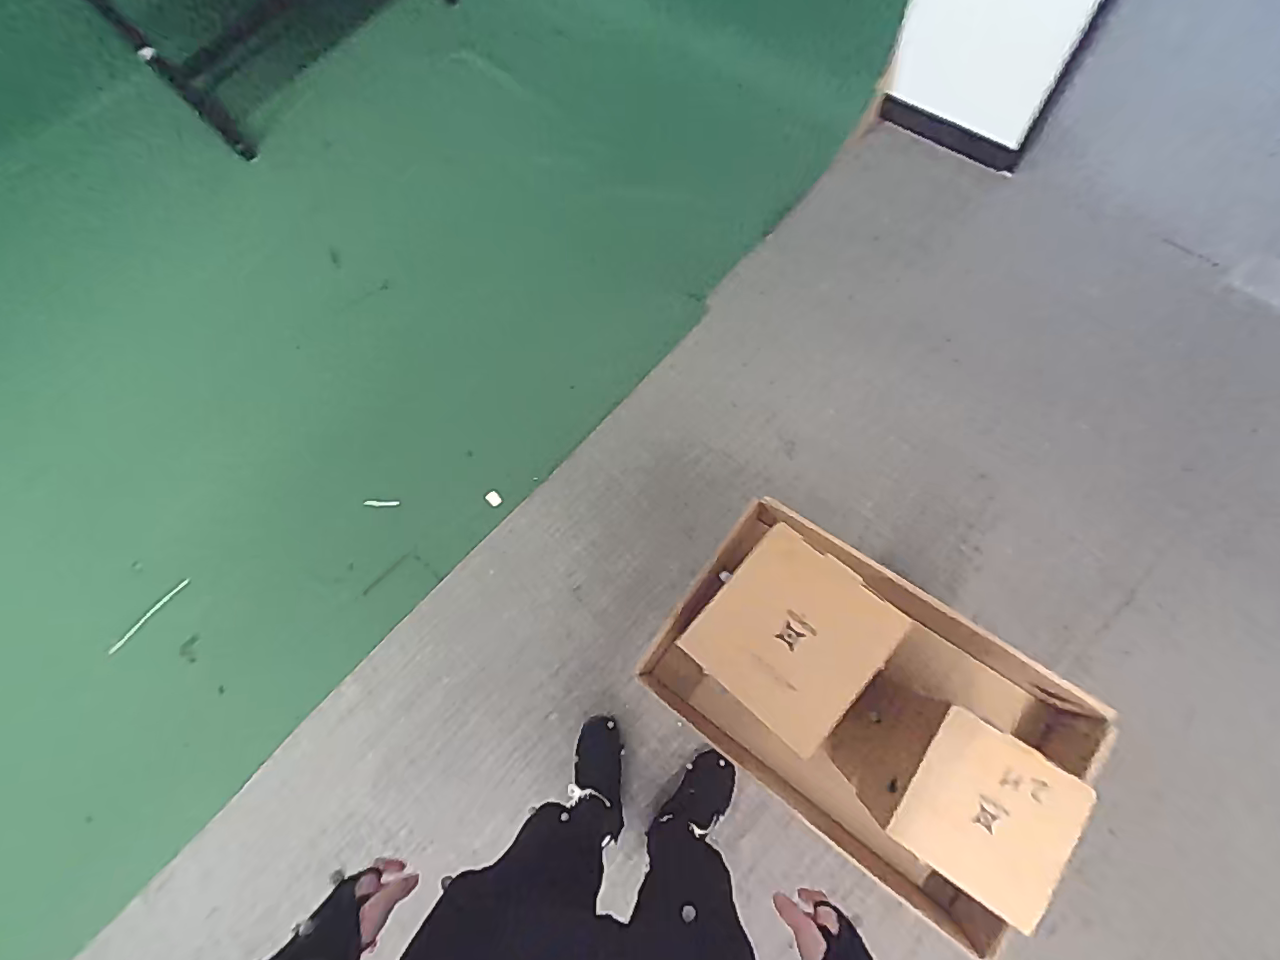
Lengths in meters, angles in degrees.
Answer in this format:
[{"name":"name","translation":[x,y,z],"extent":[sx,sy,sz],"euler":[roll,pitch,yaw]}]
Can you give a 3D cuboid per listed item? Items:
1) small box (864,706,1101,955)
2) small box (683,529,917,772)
[{"name":"small box","translation":[0.402,0.409,0.672],"extent":[0.168,0.176,0.179],"euler":[32,80,17]},{"name":"small box","translation":[0.168,0.187,0.614],"extent":[0.168,0.176,0.179],"euler":[41,82,19]}]
